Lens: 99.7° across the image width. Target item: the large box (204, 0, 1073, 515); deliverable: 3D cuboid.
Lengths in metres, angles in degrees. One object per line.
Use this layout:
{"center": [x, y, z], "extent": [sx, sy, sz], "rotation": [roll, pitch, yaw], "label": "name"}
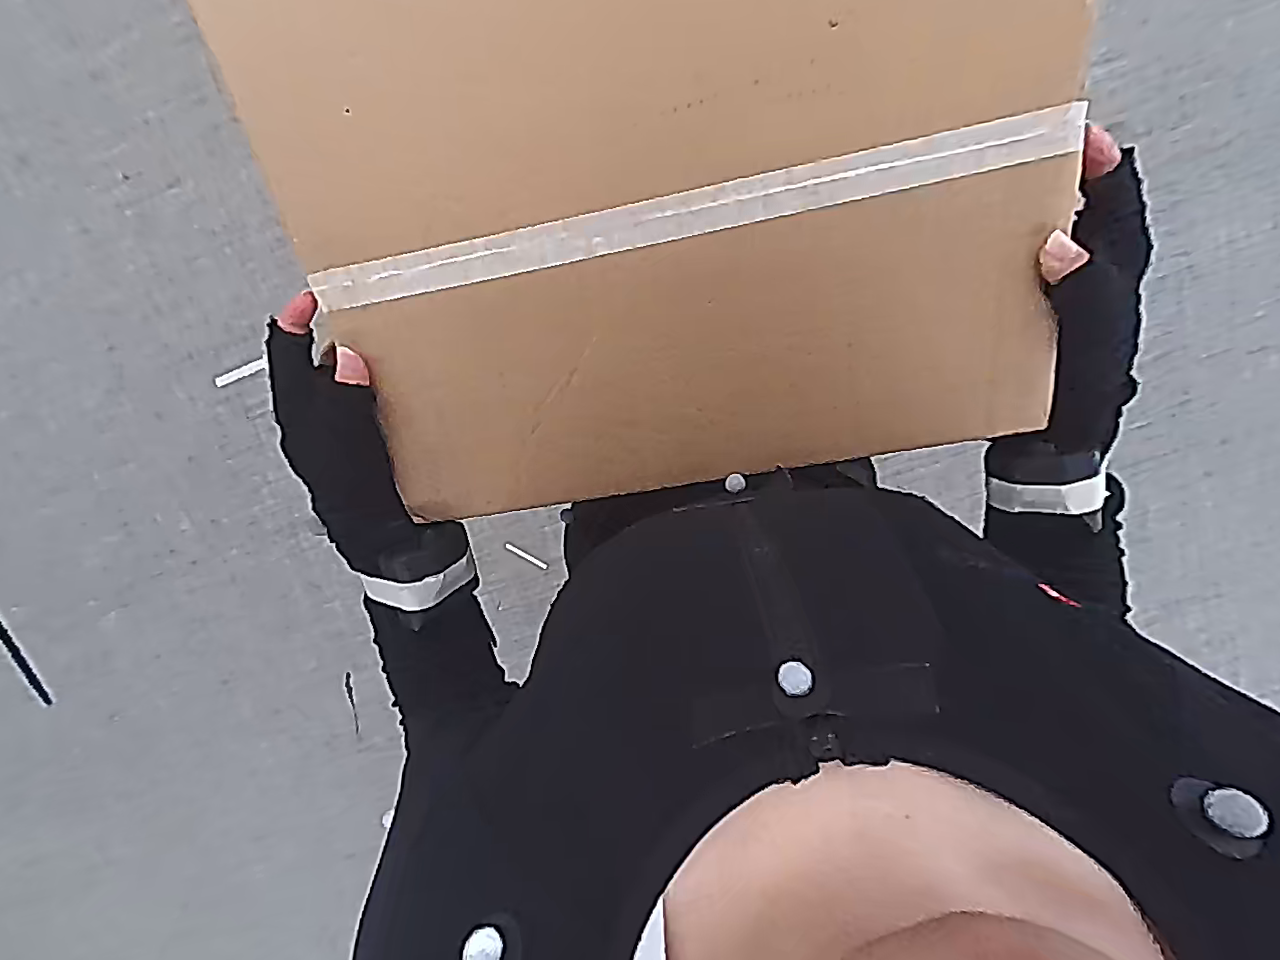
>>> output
{"center": [0.020, -0.208, 0.425], "extent": [0.408, 0.320, 0.320], "rotation": [-9, 115, 7], "label": "large box"}
